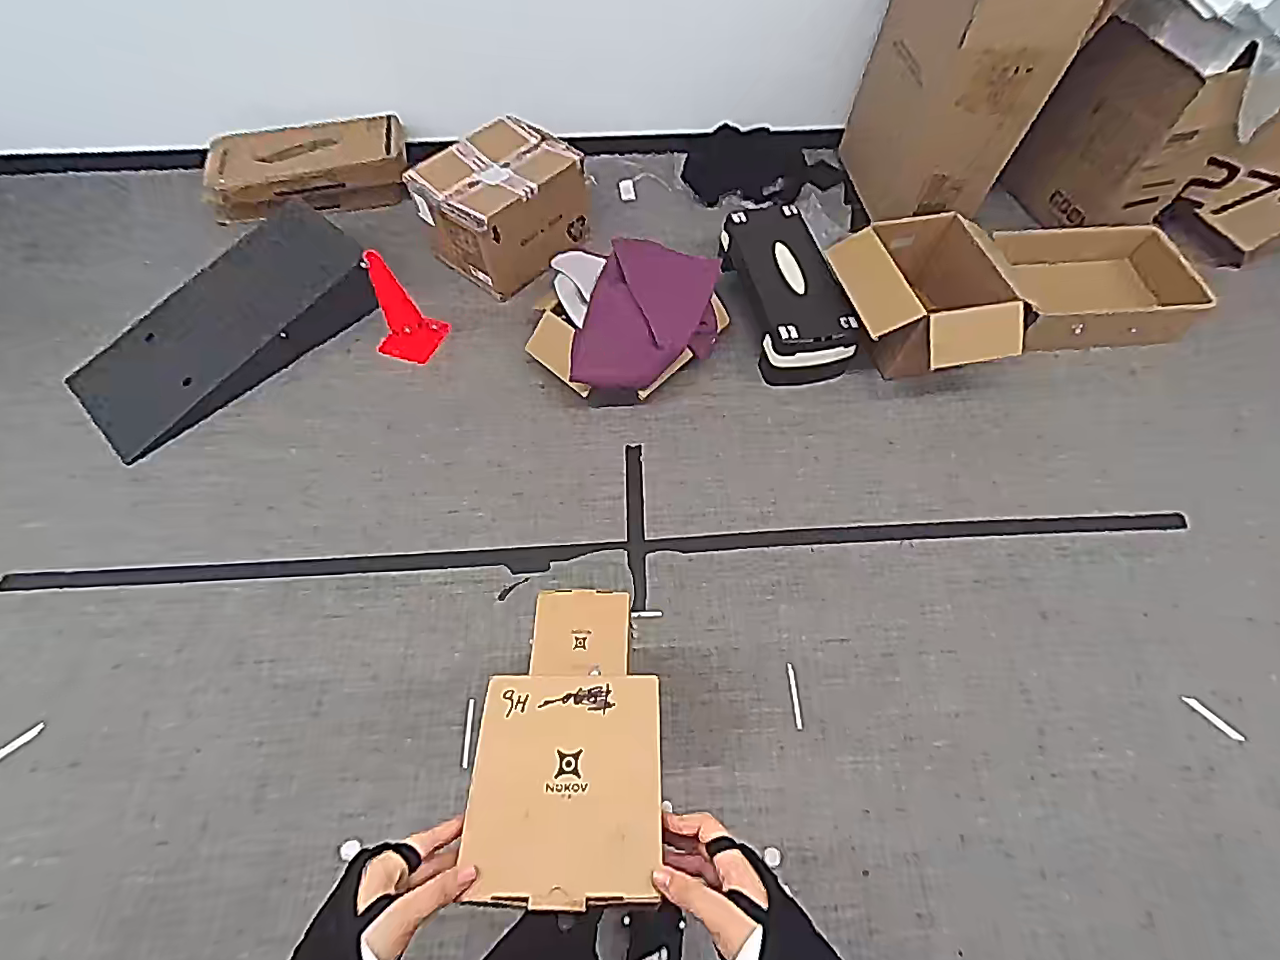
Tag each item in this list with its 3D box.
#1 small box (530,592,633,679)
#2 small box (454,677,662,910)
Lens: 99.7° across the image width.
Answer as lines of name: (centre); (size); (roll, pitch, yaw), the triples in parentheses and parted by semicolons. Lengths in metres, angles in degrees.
small box: (-0.100, 0.316, 0.991); (0.168, 0.176, 0.179); (0, 62, 1)
small box: (-0.062, 0.308, 0.531); (0.168, 0.176, 0.179); (0, 52, 0)
